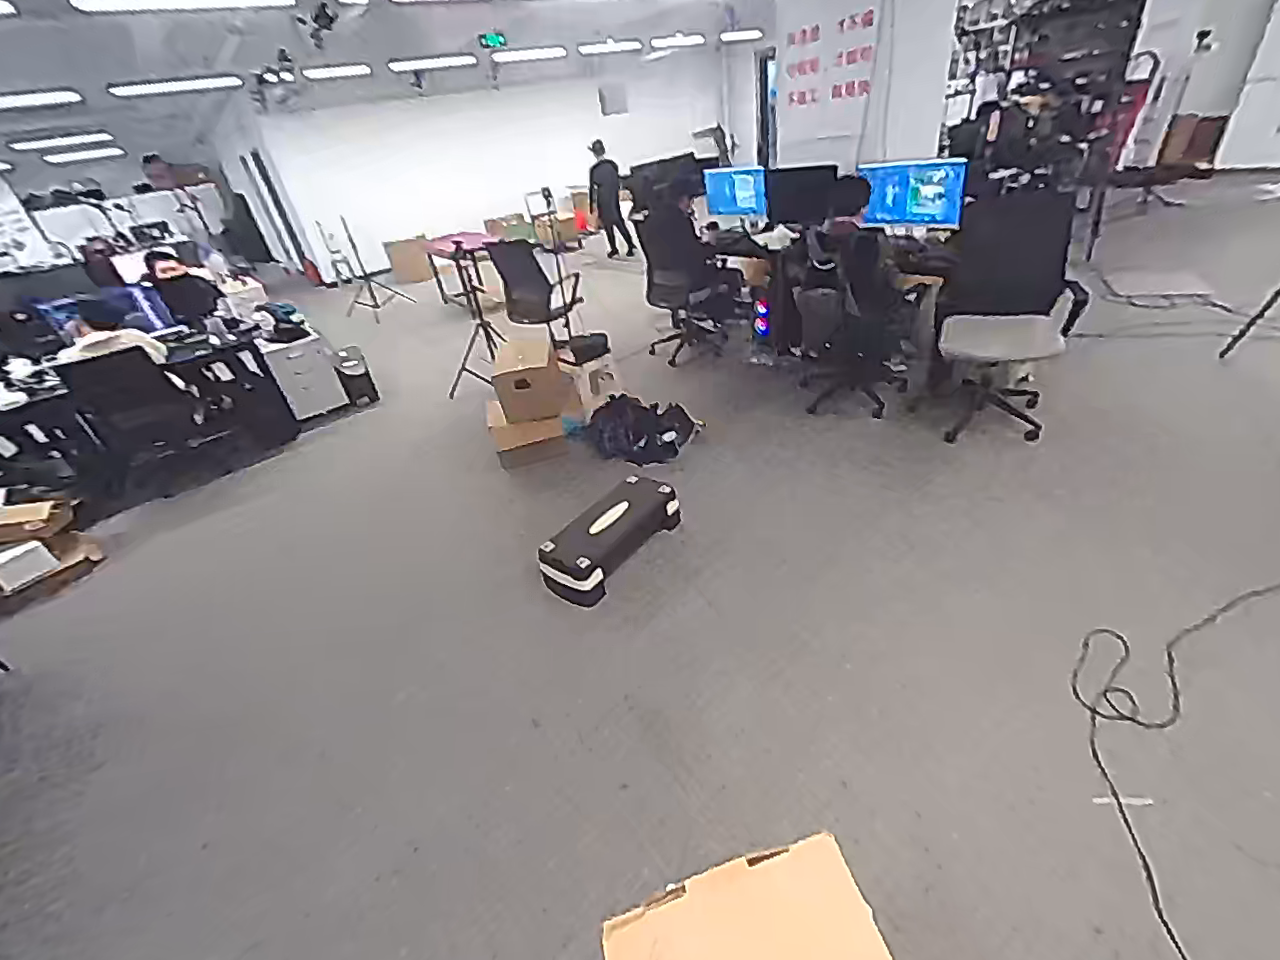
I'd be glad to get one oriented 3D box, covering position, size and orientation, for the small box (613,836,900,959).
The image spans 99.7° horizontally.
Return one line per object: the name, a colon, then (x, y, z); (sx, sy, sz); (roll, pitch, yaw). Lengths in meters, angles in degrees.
small box: (0.092, 0.373, 0.353); (0.168, 0.176, 0.179); (-18, 47, -5)
